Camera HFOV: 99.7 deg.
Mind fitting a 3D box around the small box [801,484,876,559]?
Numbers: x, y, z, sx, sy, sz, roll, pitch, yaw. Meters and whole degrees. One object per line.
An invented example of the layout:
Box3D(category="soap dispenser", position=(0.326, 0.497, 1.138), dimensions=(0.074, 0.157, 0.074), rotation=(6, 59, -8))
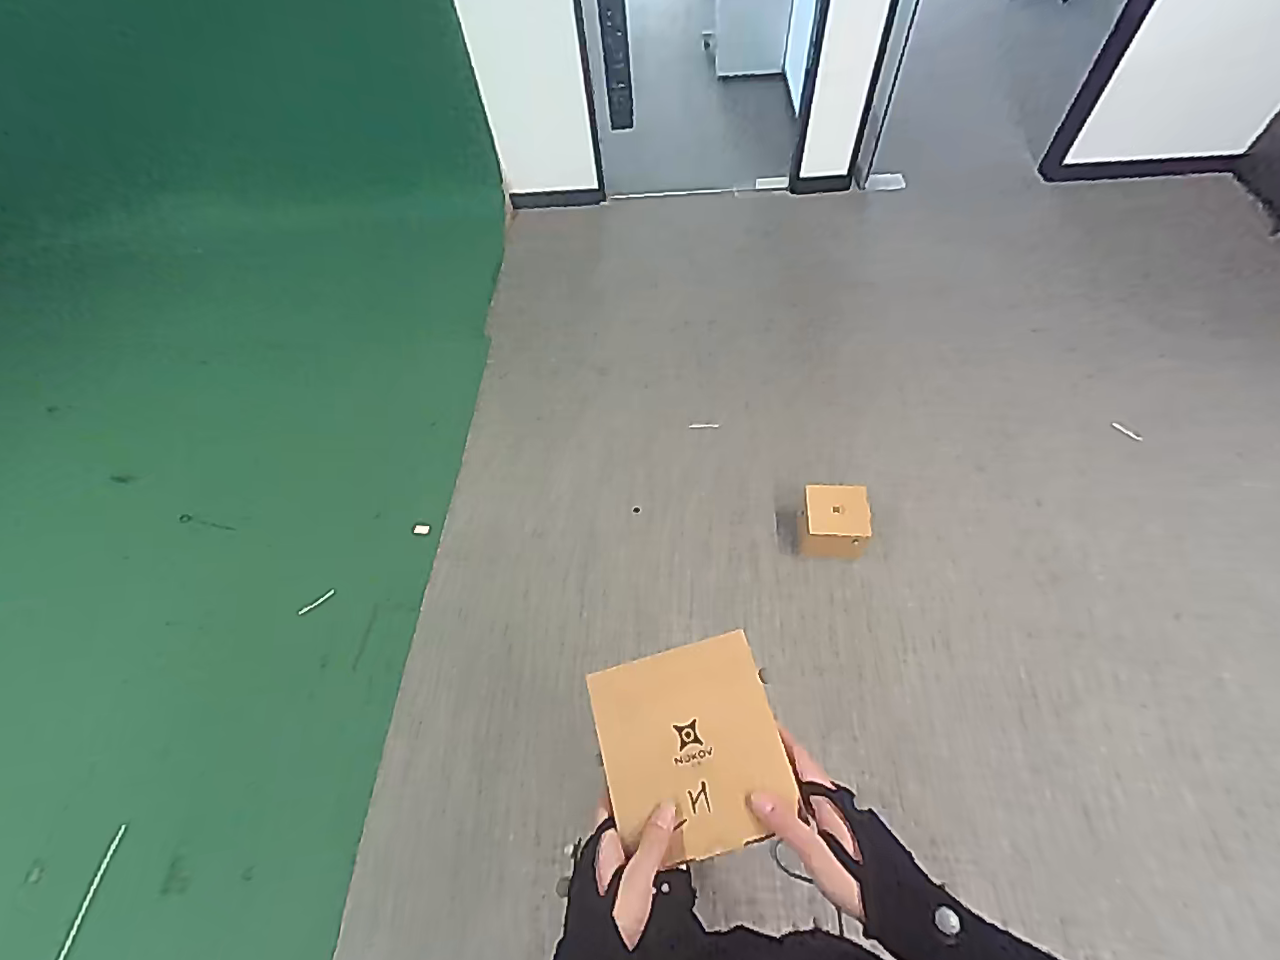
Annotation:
Box3D(category="small box", position=(0.584, 0.128, 1.615), dimensions=(0.179, 0.176, 0.168), rotation=(2, 58, 6))

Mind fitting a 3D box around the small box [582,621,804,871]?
Box3D(category="small box", position=(0.050, 0.268, 0.563), dimensions=(0.168, 0.176, 0.179), rotation=(-17, 64, 1))
